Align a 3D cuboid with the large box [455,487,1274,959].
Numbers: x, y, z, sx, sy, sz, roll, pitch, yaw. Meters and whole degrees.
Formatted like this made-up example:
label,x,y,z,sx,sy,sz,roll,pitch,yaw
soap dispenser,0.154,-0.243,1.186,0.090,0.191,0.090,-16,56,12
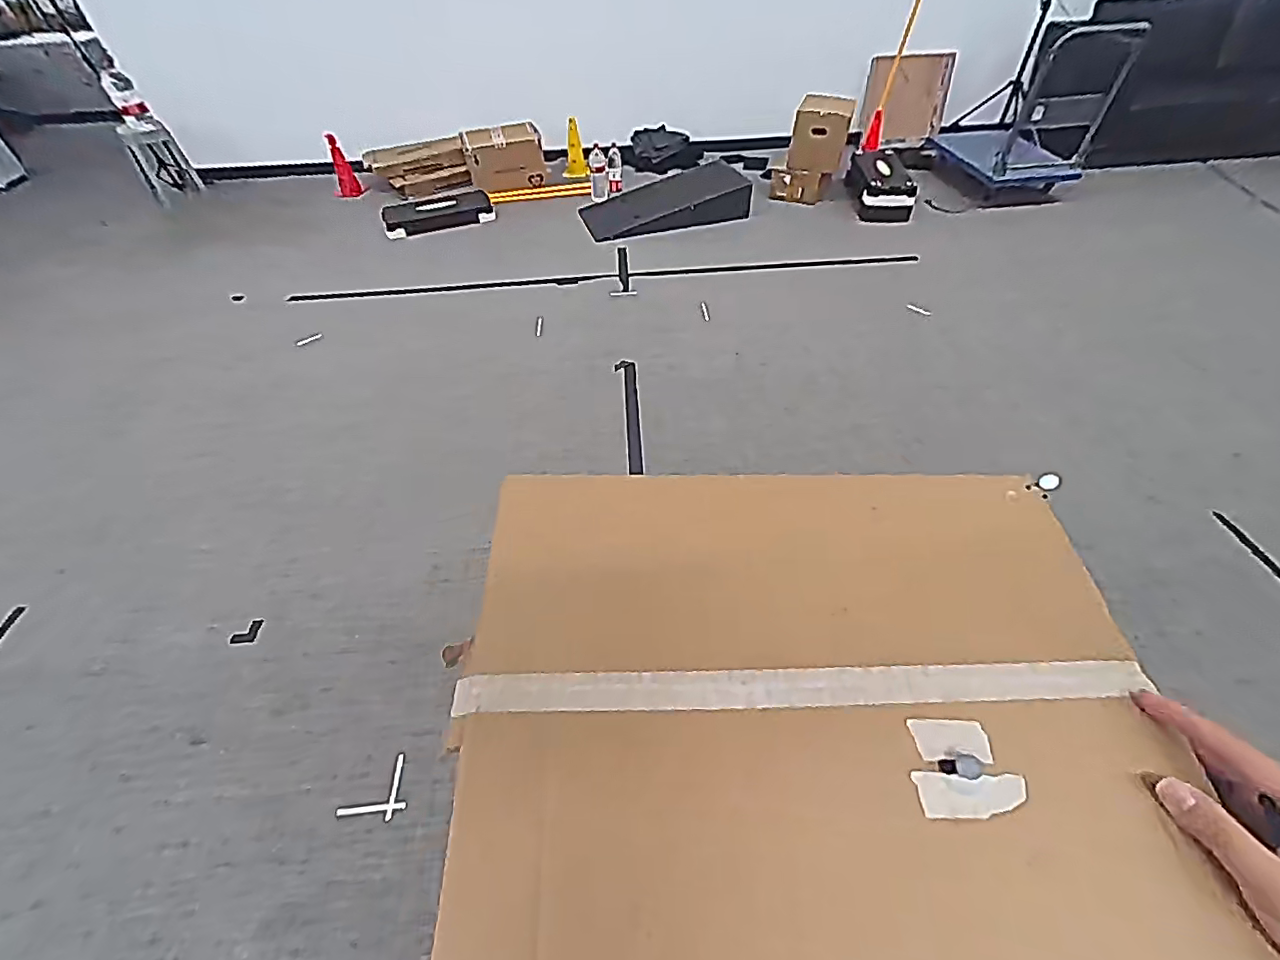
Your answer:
label,x,y,z,sx,sy,sz,roll,pitch,yaw
large box,0.098,0.218,0.448,0.408,0.320,0.320,0,55,-3
